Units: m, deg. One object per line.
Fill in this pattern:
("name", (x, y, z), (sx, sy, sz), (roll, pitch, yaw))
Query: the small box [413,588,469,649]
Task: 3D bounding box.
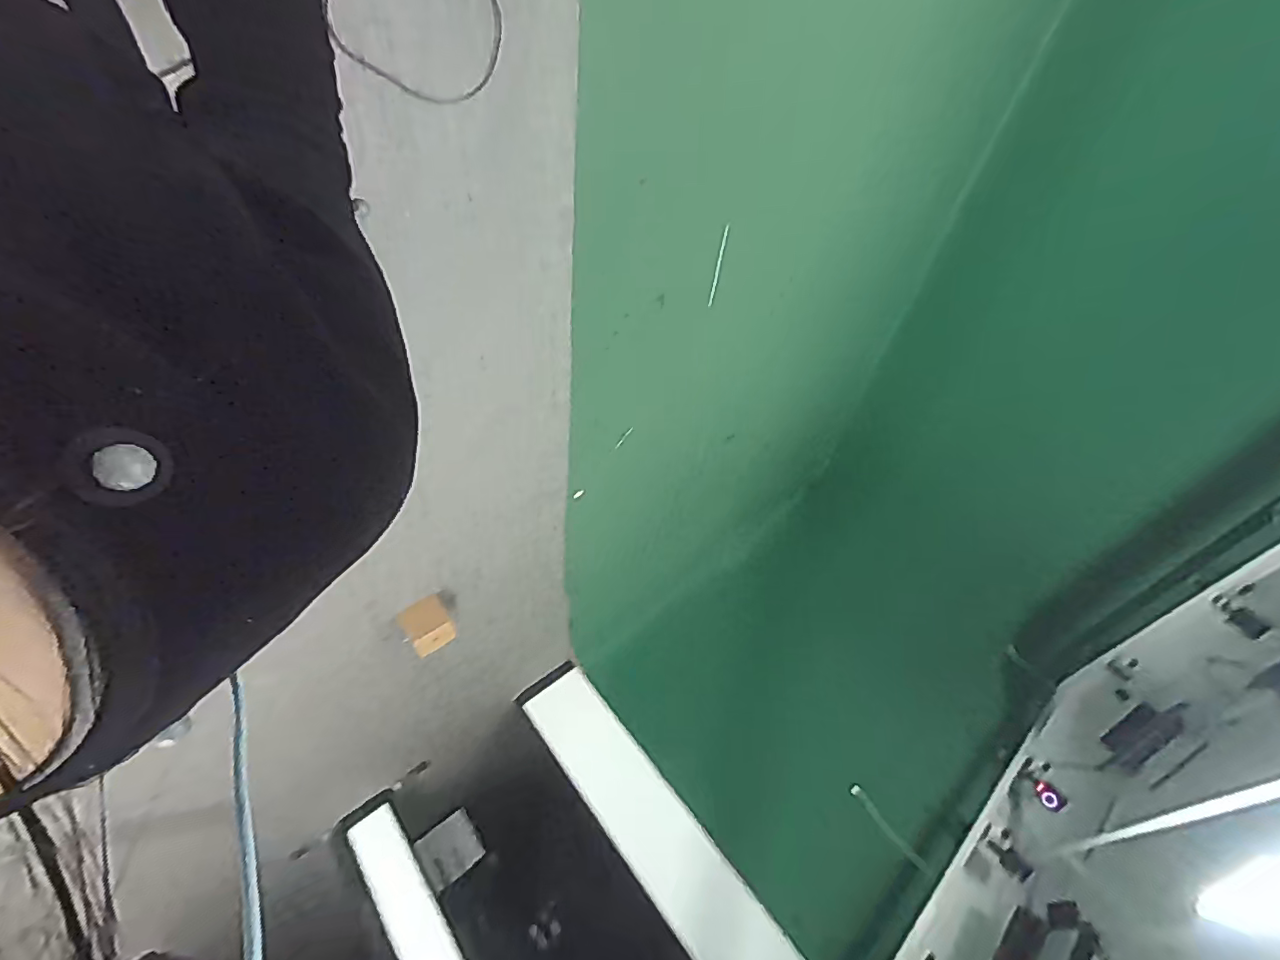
("small box", (-0.915, 0.630, 2.473), (0.179, 0.176, 0.168), (-31, 147, -27))
